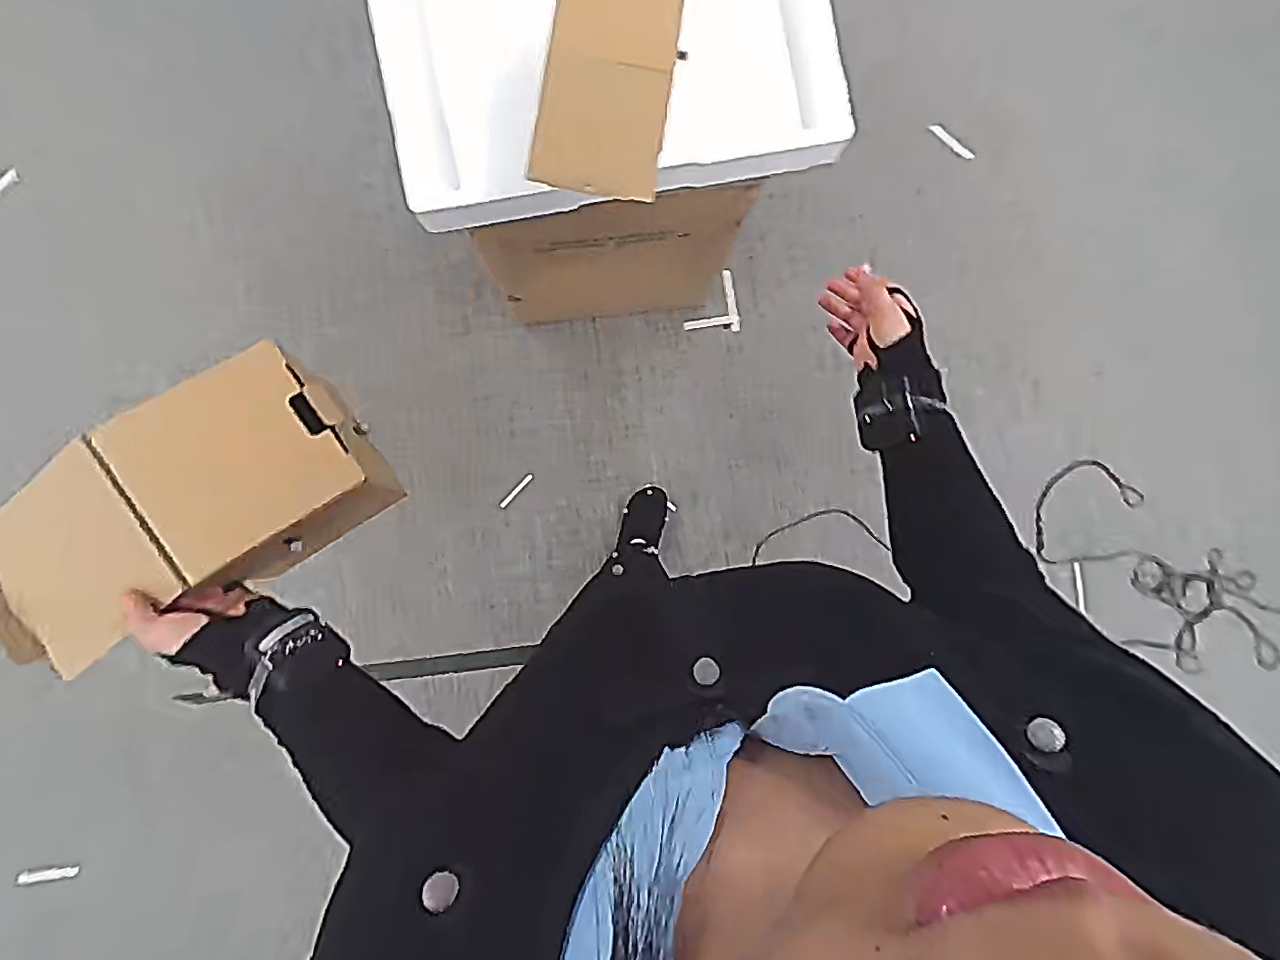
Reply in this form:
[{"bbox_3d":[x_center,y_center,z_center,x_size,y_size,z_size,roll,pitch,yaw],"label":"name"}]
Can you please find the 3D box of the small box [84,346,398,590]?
[{"bbox_3d":[-0.392,-0.005,0.573,0.179,0.176,0.168,-36,92,-12],"label":"small box"}]
